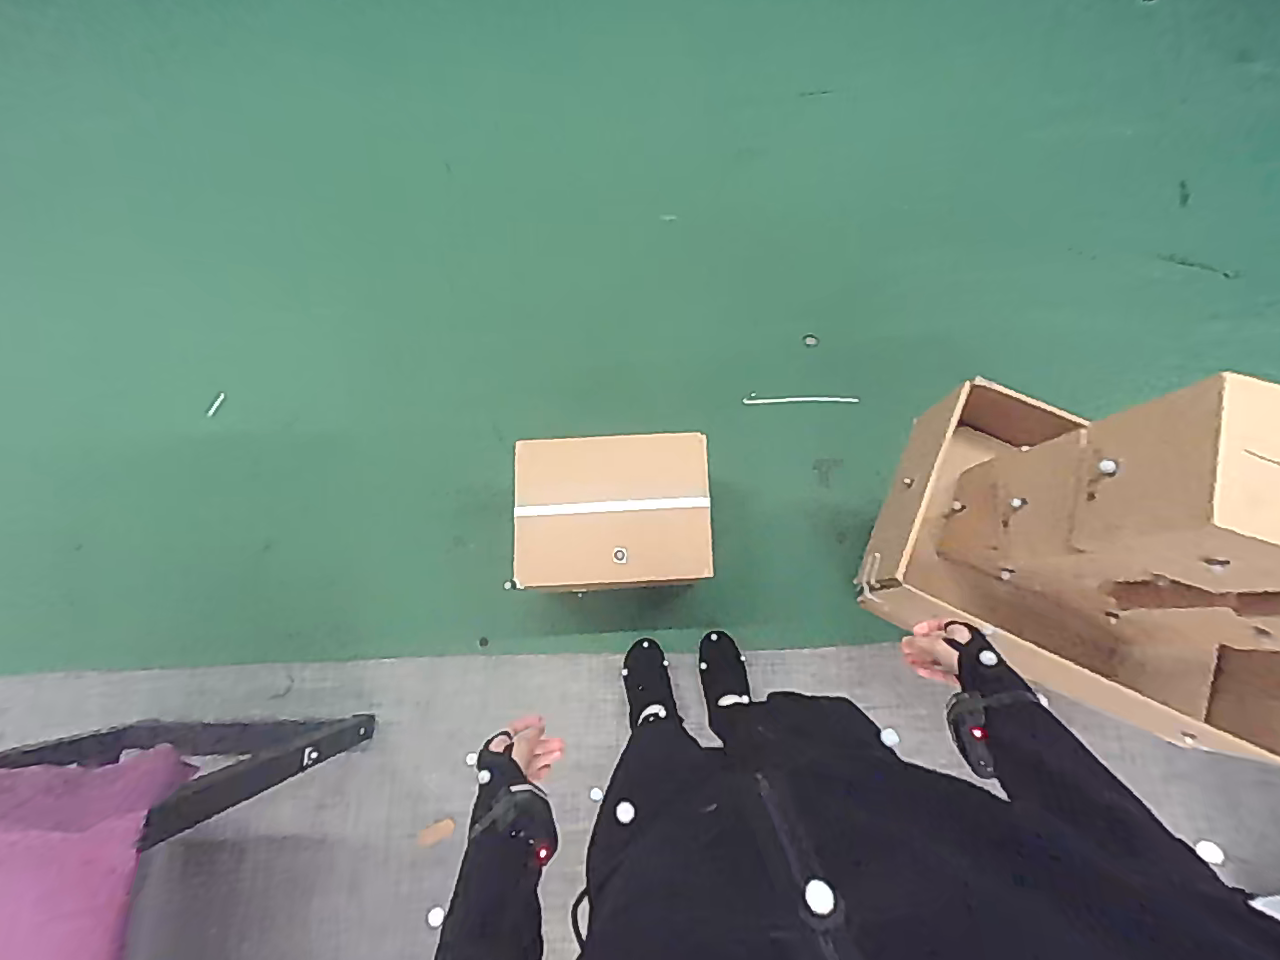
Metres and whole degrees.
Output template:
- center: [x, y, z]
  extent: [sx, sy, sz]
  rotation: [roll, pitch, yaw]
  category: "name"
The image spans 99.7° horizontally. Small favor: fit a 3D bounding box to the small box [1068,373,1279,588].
- center: [0.624, 0.013, 0.585]
  extent: [0.179, 0.176, 0.168]
  rotation: [18, 76, 5]
  category: "small box"
